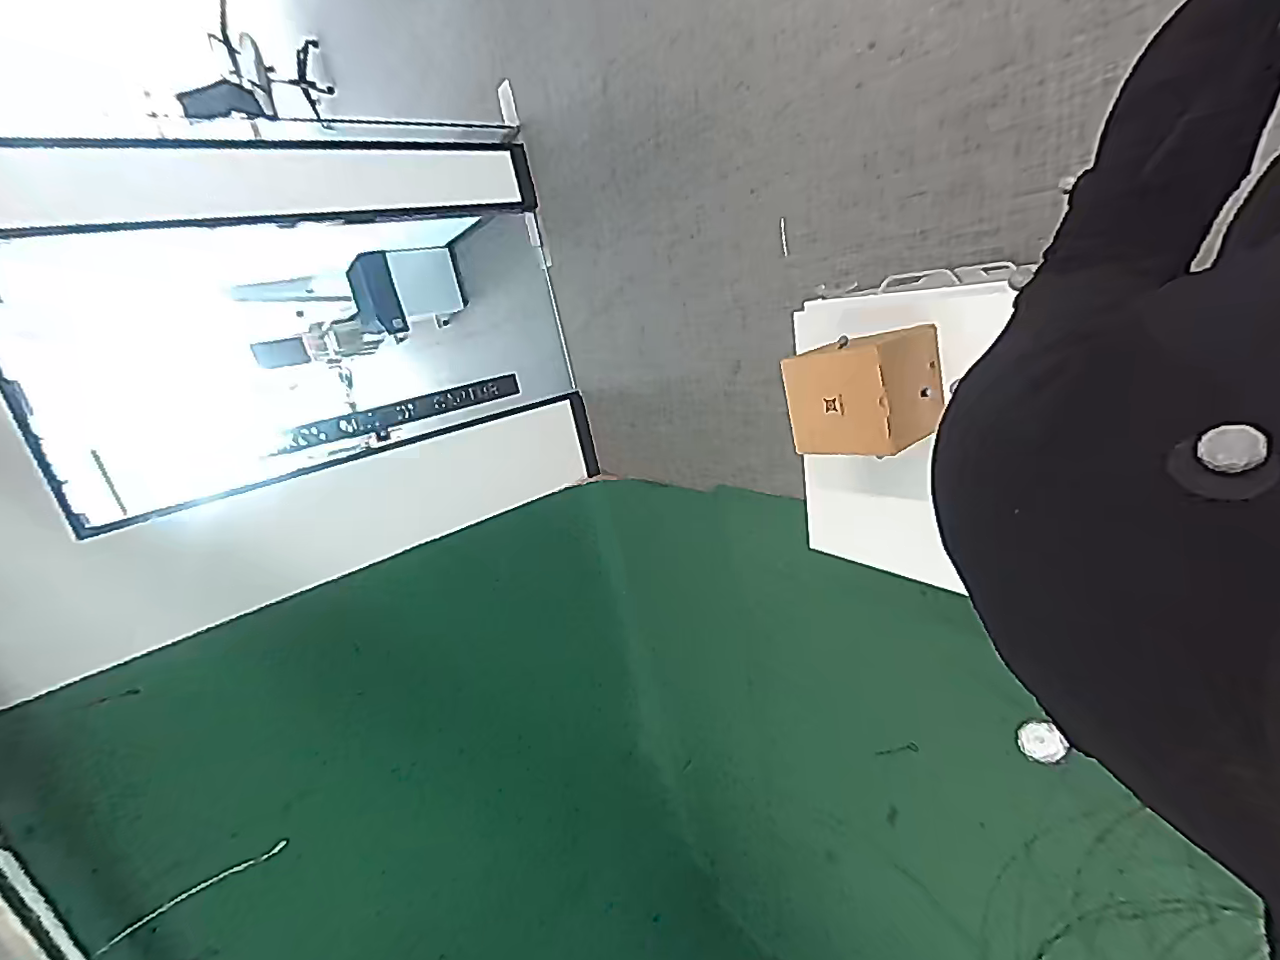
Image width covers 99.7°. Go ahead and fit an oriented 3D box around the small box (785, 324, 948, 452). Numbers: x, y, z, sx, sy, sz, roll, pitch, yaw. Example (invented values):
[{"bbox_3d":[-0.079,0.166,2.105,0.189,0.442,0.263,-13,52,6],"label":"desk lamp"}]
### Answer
[{"bbox_3d":[0.371,-0.149,0.888,0.179,0.176,0.168,4,112,54],"label":"small box"}]
